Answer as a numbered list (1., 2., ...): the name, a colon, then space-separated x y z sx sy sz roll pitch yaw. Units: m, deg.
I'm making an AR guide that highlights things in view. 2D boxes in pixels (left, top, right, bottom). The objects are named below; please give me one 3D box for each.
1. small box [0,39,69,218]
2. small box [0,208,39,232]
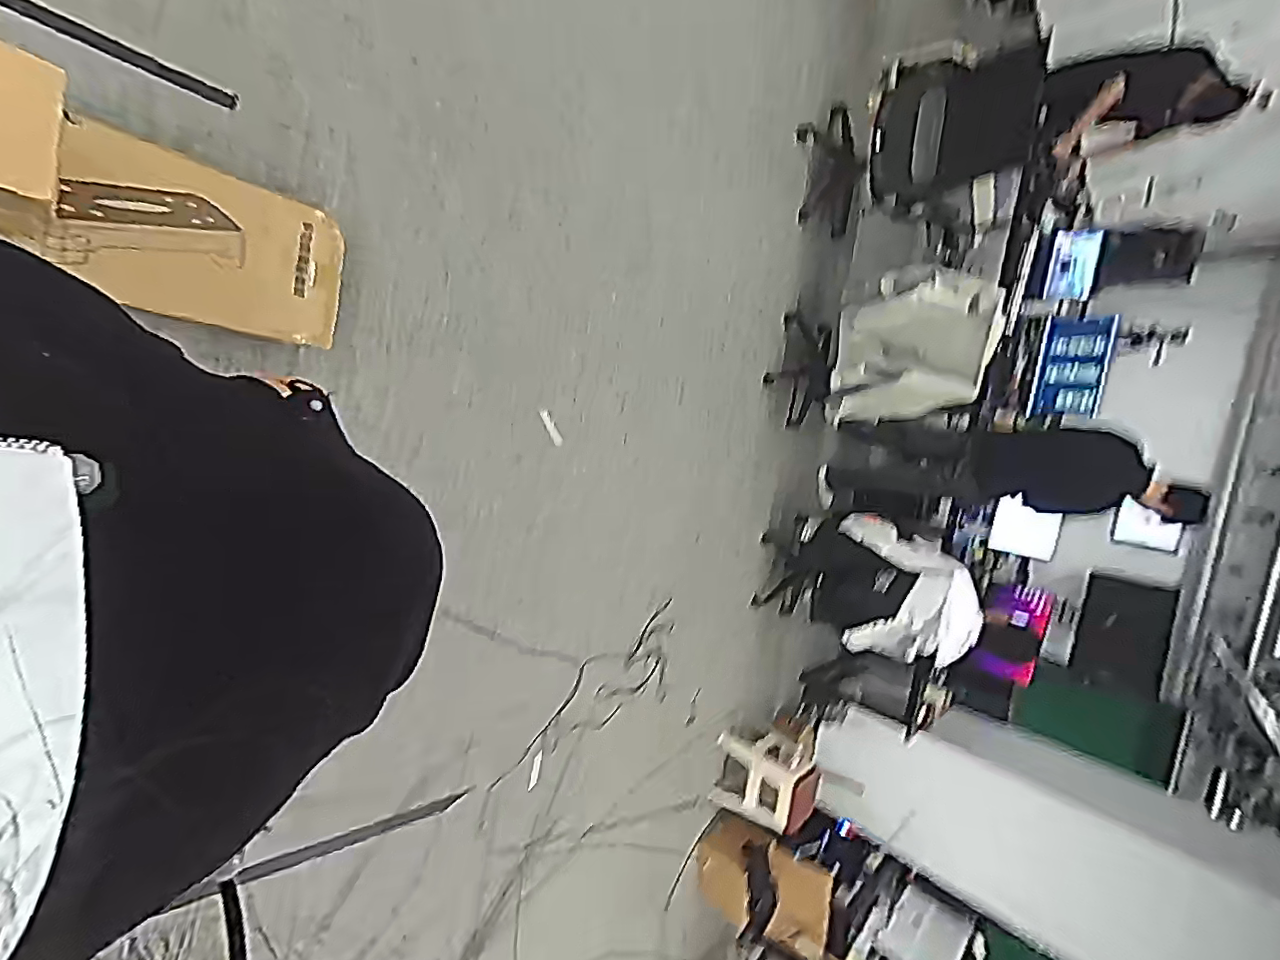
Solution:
1. small box: -0.870 -0.468 0.698 0.168 0.176 0.179 8 94 -47
2. small box: -1.003 -0.490 0.795 0.168 0.176 0.179 5 97 -47
